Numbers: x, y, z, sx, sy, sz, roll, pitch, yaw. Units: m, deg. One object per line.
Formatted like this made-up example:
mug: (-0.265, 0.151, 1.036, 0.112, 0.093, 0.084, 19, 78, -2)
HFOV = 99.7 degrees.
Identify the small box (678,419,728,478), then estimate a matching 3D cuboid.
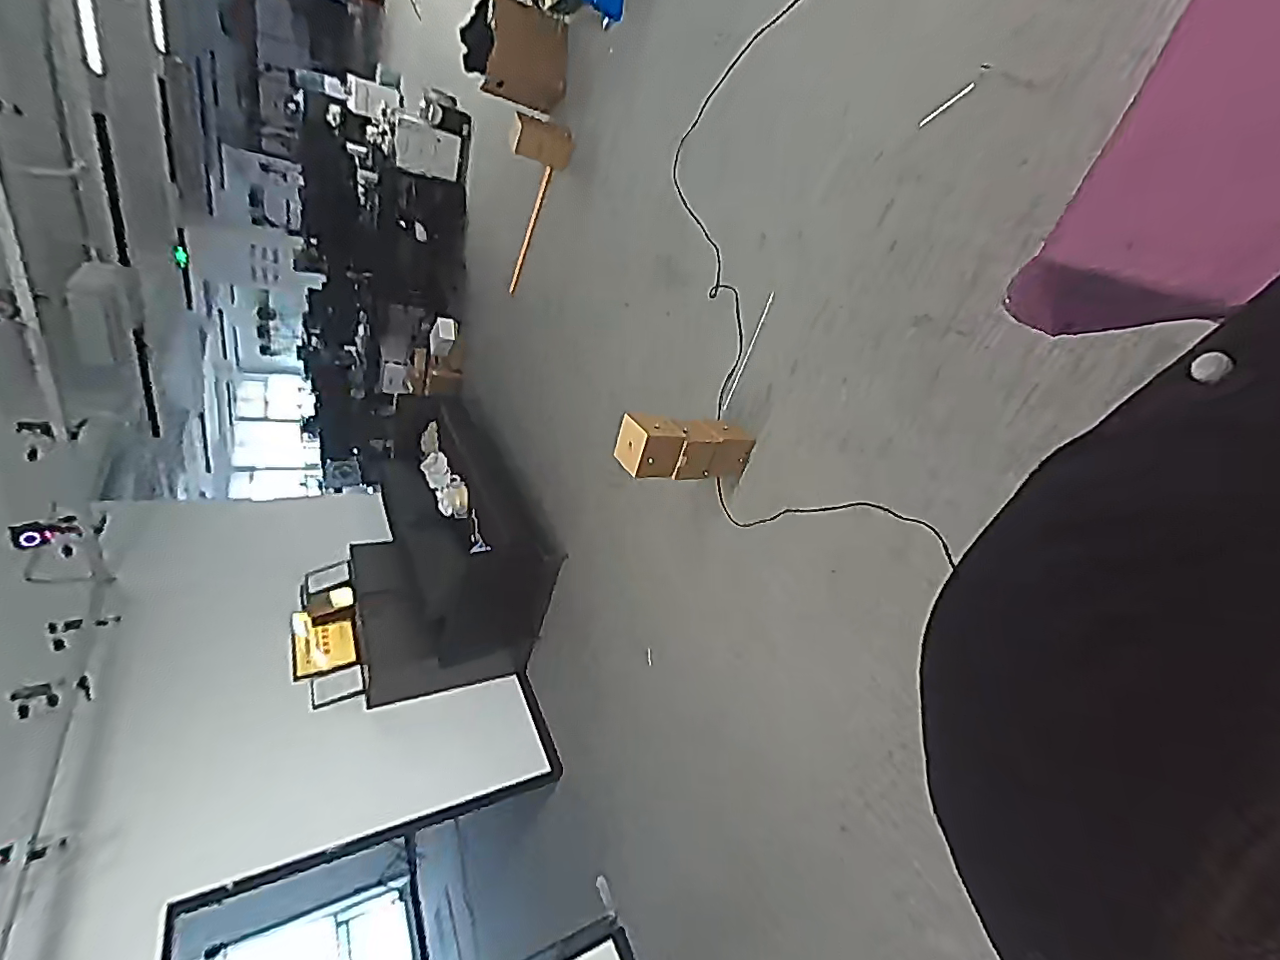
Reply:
small box: (0.205, -0.124, 2.041, 0.179, 0.176, 0.168, 50, 131, 46)

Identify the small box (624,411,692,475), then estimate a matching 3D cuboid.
small box: (0.068, -0.135, 1.952, 0.168, 0.176, 0.179, 50, 133, 45)
